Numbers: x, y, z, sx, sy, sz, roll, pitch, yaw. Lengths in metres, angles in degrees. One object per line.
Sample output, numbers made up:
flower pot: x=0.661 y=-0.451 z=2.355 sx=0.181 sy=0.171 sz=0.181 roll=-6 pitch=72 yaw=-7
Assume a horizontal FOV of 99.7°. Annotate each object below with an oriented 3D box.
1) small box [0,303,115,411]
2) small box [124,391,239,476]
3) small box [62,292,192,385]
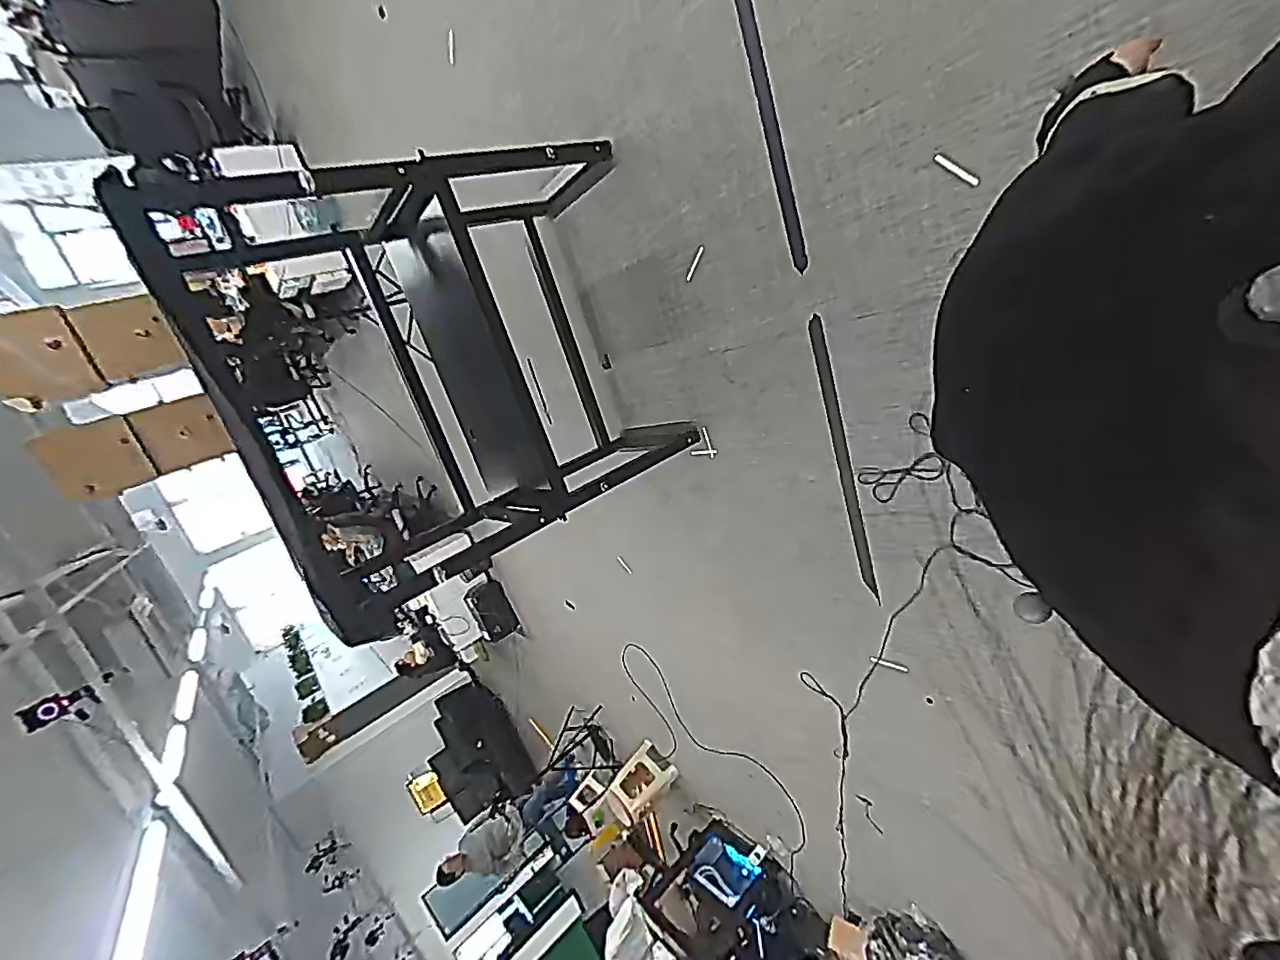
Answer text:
small box: x=-1.339 y=-0.271 z=1.206 sx=0.168 sy=0.176 sz=0.179 roll=-3 pitch=111 yaw=55
small box: x=-1.150 y=-0.122 z=1.372 sx=0.179 sy=0.176 sz=0.168 roll=7 pitch=119 yaw=52
small box: x=-1.222 y=-0.338 z=1.306 sx=0.179 sy=0.176 sz=0.168 roll=4 pitch=118 yaw=53
